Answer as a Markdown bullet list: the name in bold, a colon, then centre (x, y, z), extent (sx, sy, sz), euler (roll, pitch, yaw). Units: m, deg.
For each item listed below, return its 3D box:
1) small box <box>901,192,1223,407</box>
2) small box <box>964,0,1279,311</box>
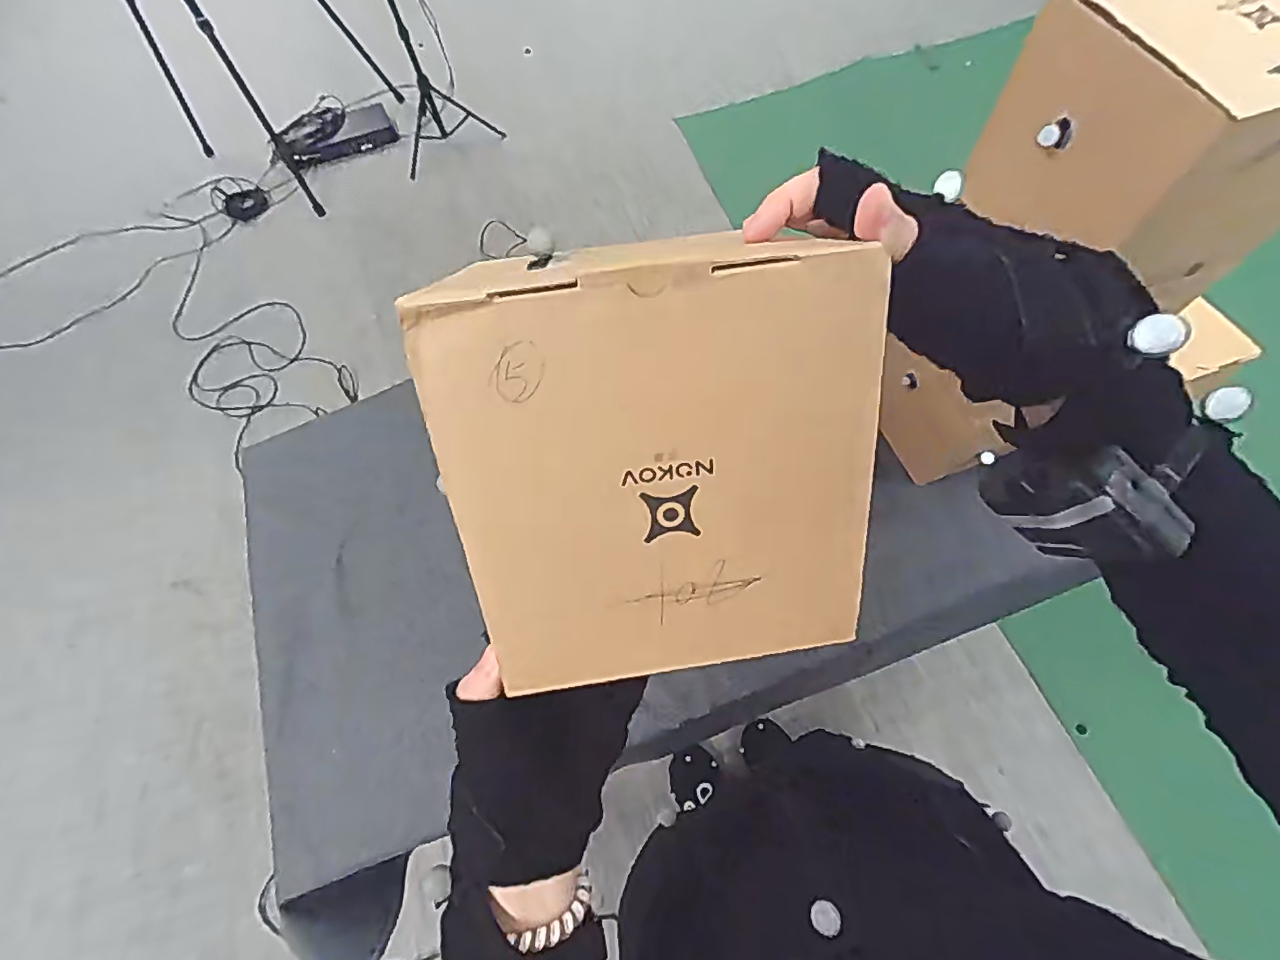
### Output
- **small box**: centre (0.416, -0.198, 0.575), extent (0.168, 0.176, 0.179), euler (-18, 64, -3)
- **small box**: centre (0.402, -0.268, 0.427), extent (0.168, 0.176, 0.179), euler (-16, 63, -2)
